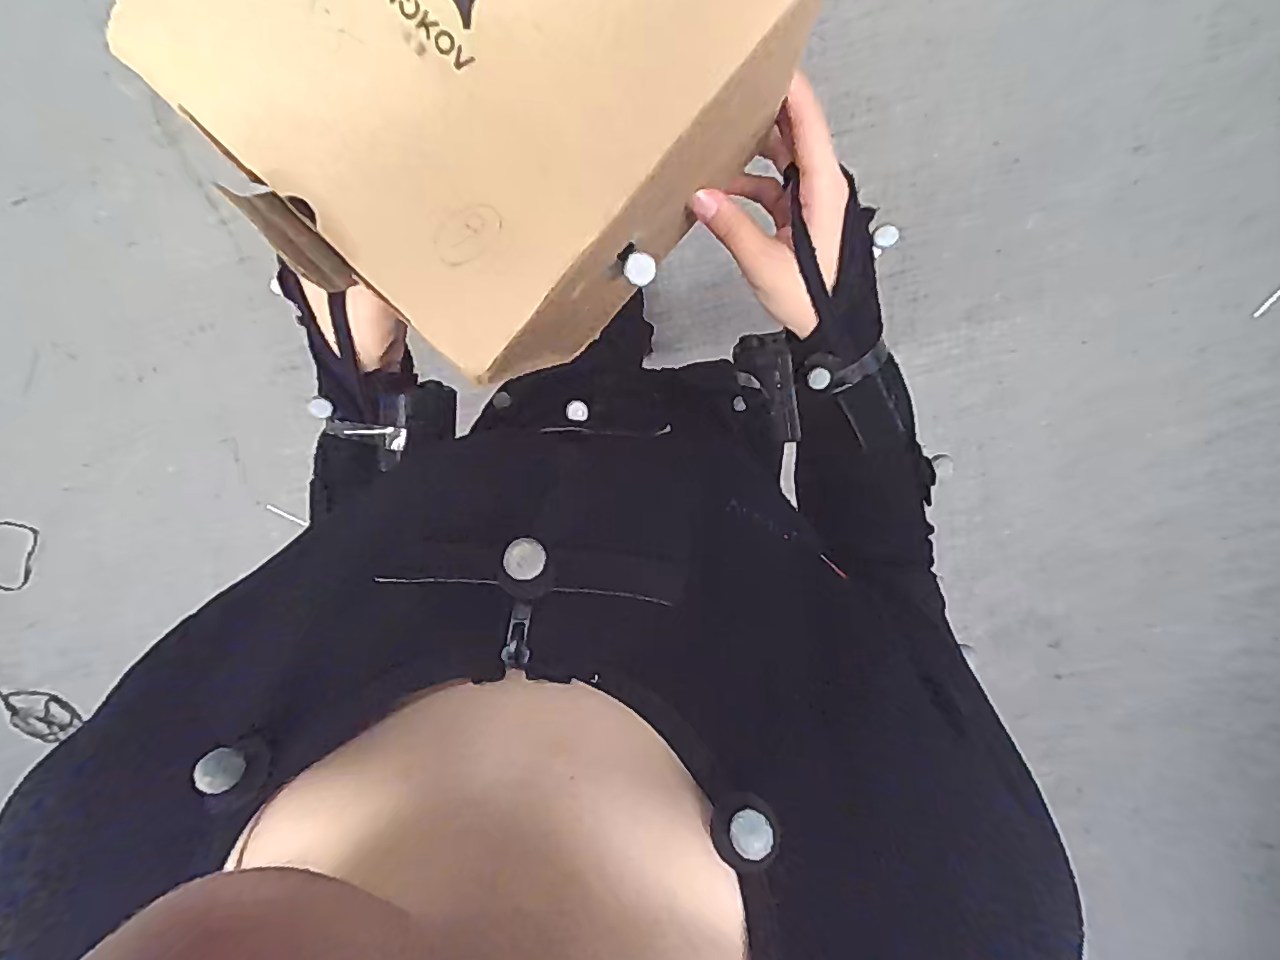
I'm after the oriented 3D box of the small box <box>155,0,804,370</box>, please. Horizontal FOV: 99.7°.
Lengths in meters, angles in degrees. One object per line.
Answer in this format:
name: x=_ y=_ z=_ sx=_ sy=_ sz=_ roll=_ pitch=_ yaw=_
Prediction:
small box: x=-0.050 y=-0.175 z=0.256 sx=0.168 sy=0.176 sz=0.179 roll=43 pitch=106 yaw=-7
